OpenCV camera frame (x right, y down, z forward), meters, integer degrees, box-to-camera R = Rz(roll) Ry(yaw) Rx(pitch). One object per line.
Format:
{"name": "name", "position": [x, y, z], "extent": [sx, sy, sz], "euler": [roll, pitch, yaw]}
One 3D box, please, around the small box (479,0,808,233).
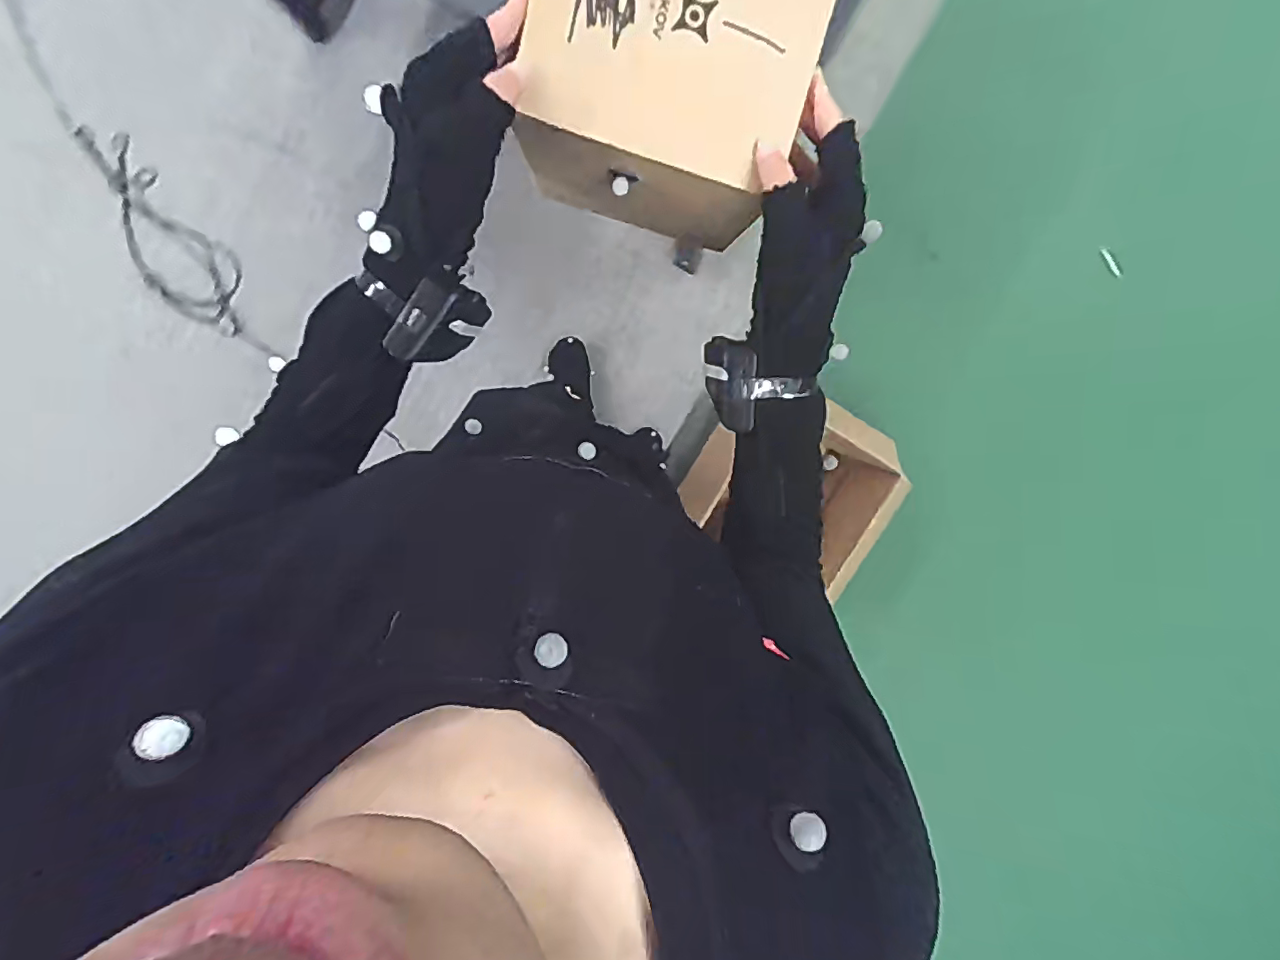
{"name": "small box", "position": [0.004, -0.297, 0.388], "extent": [0.179, 0.176, 0.168], "euler": [14, 102, -8]}
